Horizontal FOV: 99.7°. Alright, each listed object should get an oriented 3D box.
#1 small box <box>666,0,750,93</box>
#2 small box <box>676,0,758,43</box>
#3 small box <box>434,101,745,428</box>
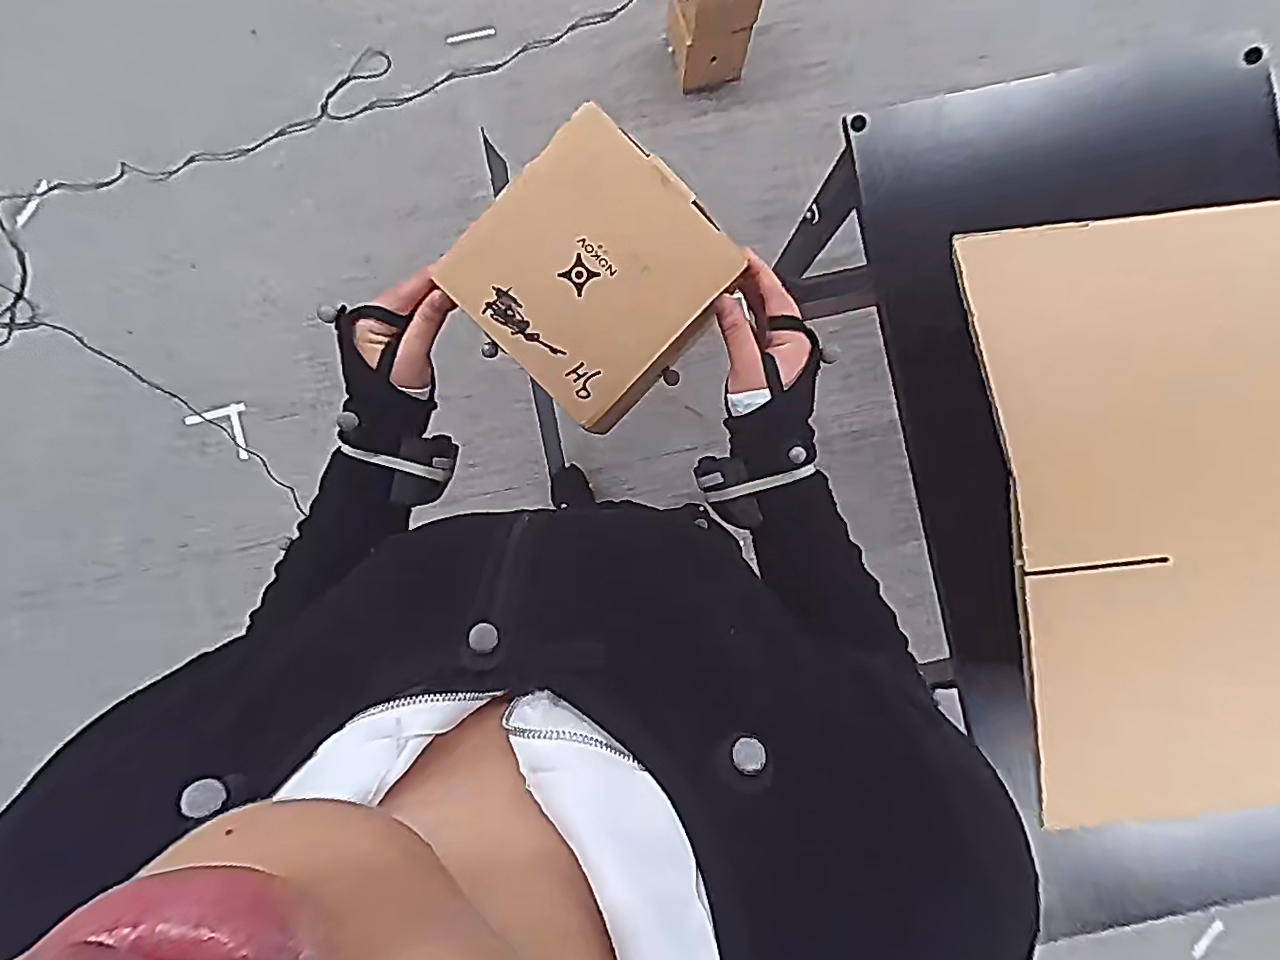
[{"bbox_3d":[0.173,-1.180,1.435,0.179,0.176,0.168,-16,89,1],"label":"small box"},{"bbox_3d":[0.179,-1.184,1.272,0.179,0.176,0.168,-18,90,-1],"label":"small box"},{"bbox_3d":[-0.038,-0.165,0.478,0.168,0.176,0.179,44,92,0],"label":"small box"}]
